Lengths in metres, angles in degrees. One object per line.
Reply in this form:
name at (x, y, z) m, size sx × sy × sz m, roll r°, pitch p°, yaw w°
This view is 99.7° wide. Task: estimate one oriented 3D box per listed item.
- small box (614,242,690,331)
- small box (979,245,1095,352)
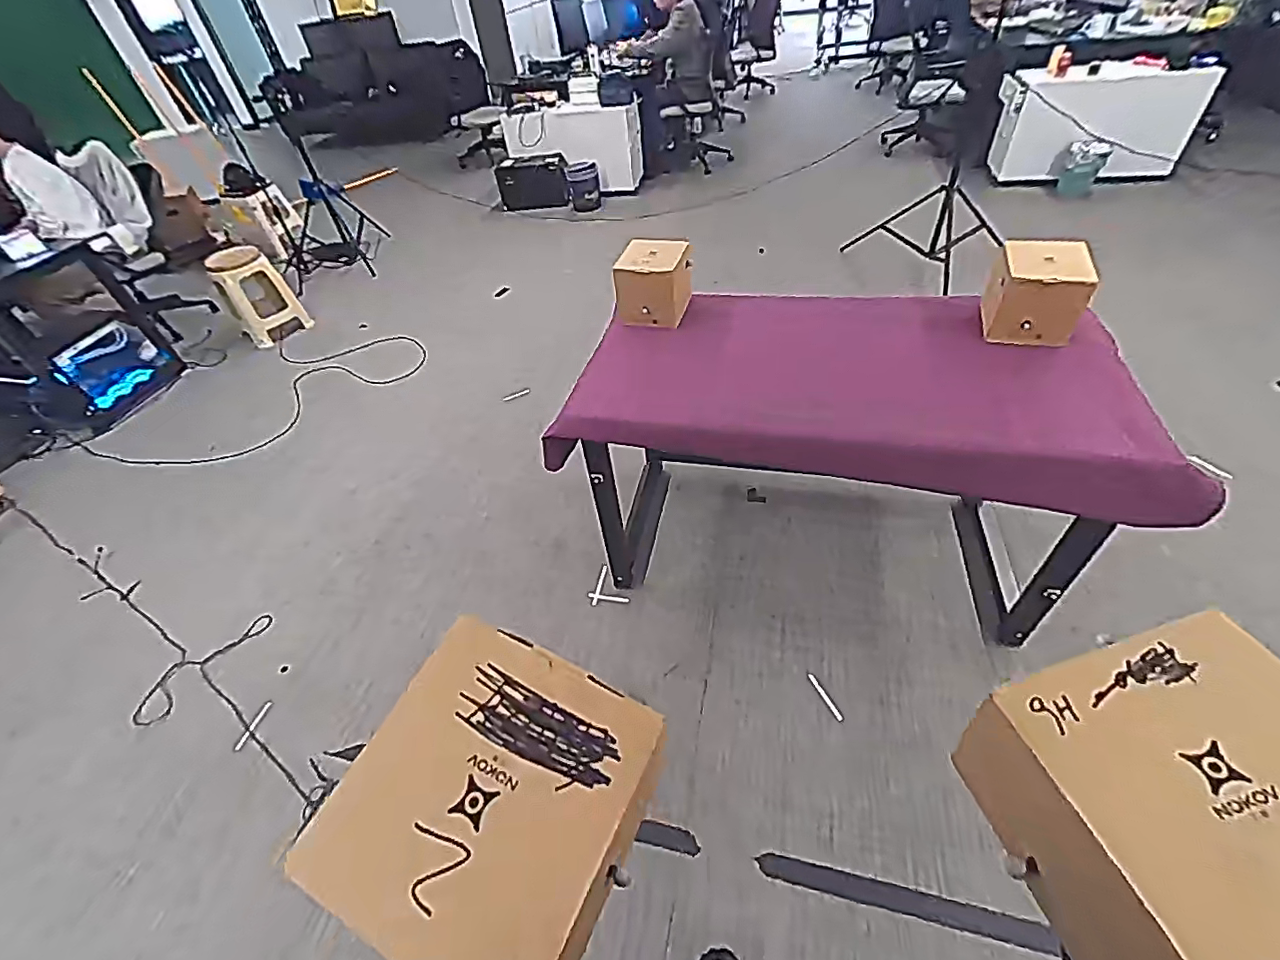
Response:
small box at (0.040, -0.536, 1.497) m, size 0.168 × 0.176 × 0.179 m, roll 9°, pitch 50°, yaw 16°
small box at (0.923, -0.429, 1.277) m, size 0.168 × 0.176 × 0.179 m, roll 9°, pitch 52°, yaw 16°
